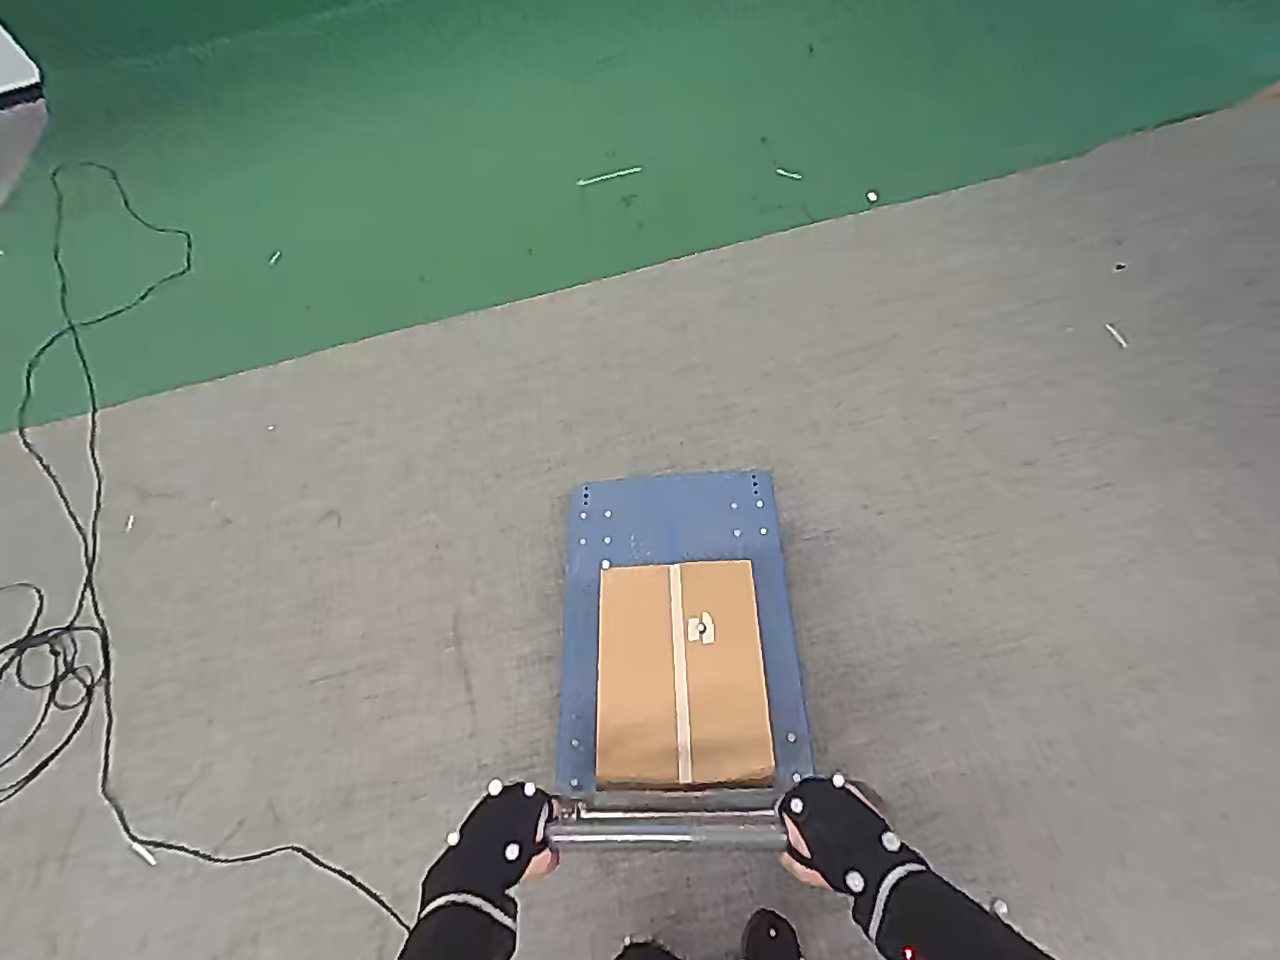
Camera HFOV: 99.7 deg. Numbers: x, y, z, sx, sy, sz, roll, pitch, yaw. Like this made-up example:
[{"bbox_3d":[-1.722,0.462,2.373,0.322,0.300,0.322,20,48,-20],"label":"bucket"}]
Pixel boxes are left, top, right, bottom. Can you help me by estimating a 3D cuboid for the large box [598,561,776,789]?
[{"bbox_3d":[0.094,0.423,1.154,0.320,0.320,0.408,-3,61,5],"label":"large box"}]
